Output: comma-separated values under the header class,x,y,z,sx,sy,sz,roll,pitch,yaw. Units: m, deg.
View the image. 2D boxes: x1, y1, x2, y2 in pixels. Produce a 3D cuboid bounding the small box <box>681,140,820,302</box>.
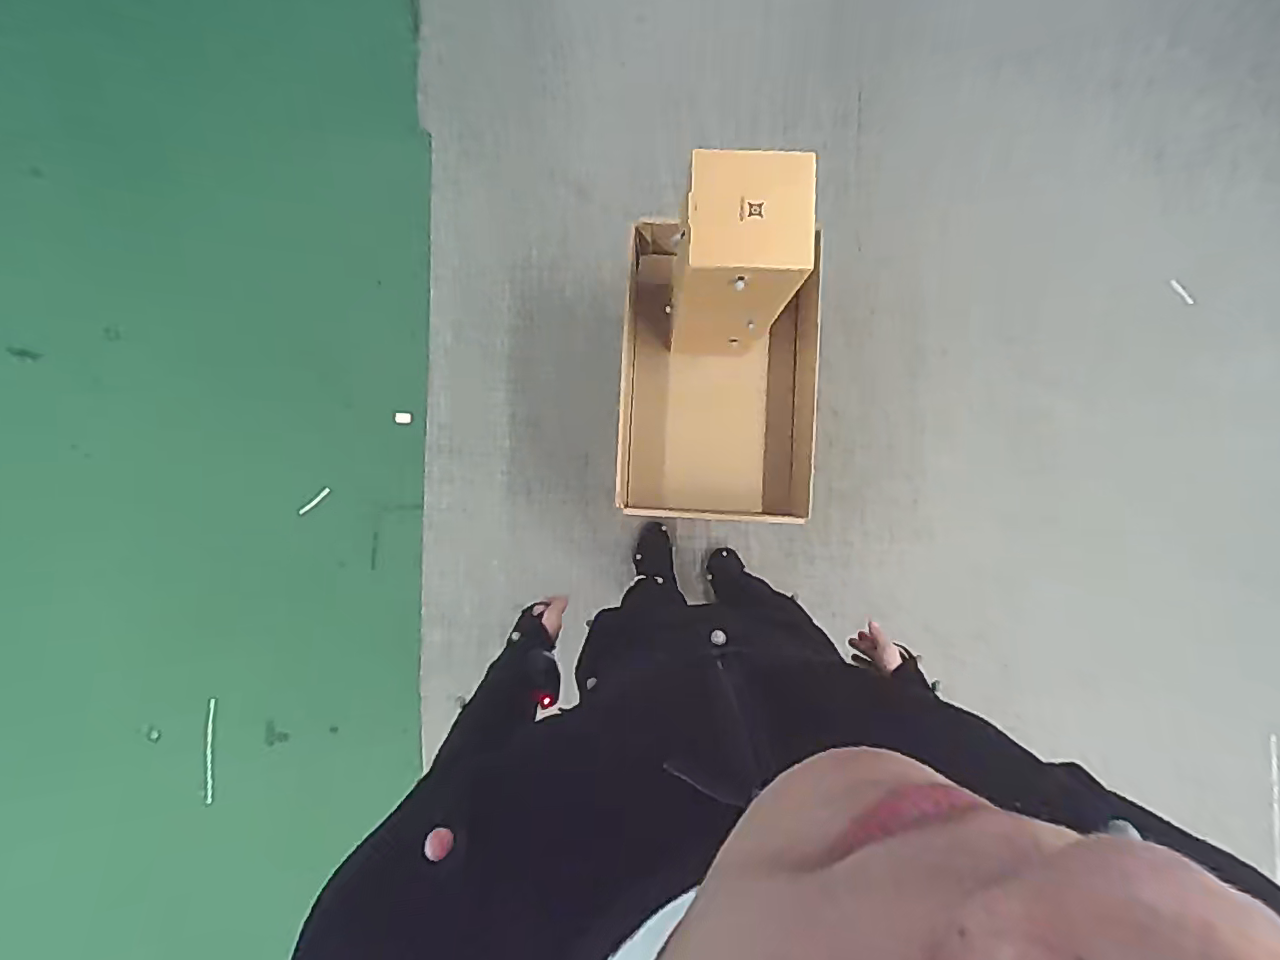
class,x,y,z,sx,sy,sz,roll,pitch,yaw
small box,0.157,-0.378,0.817,0.179,0.176,0.168,2,89,1
